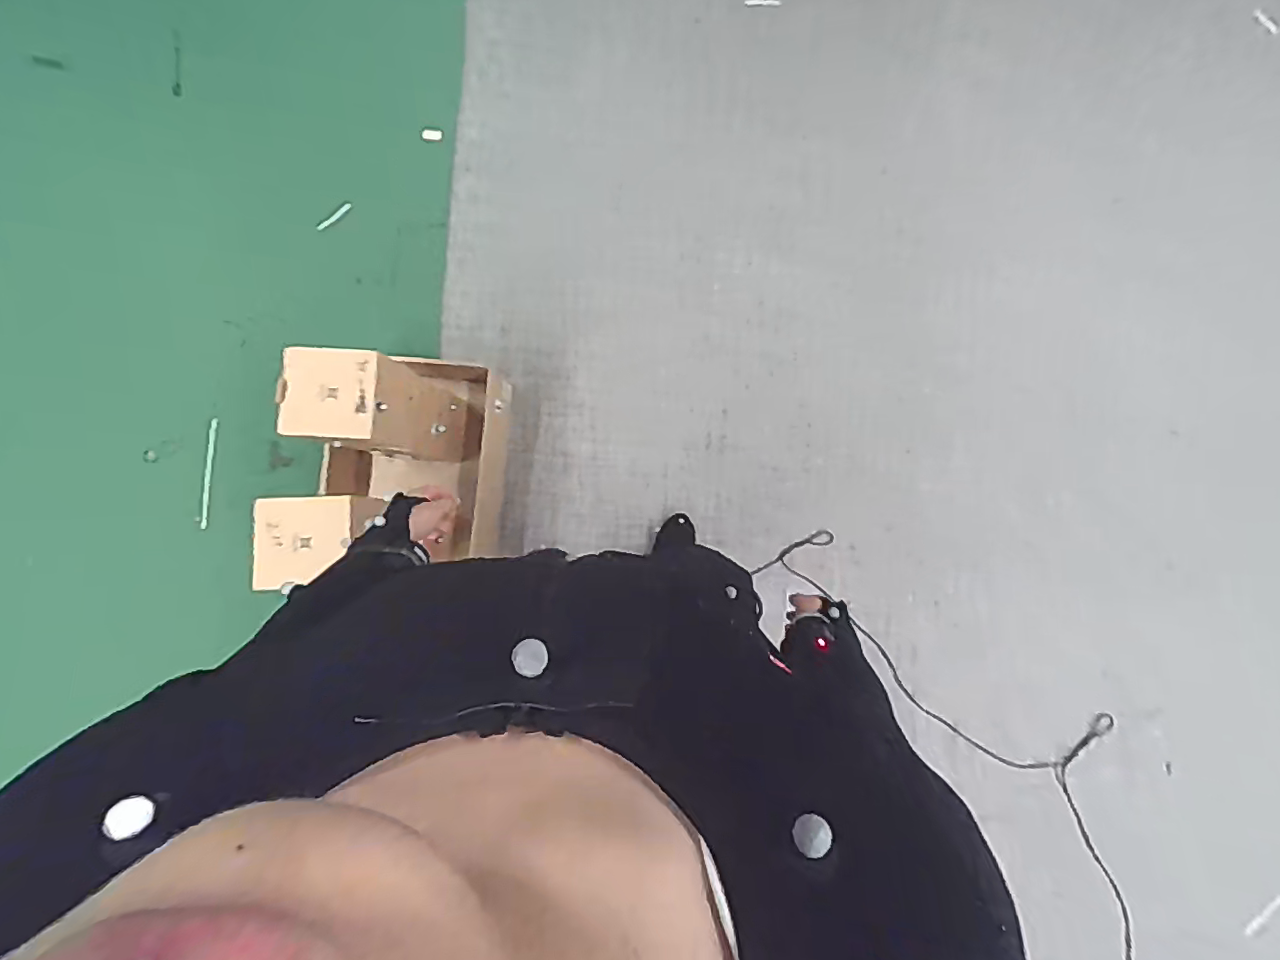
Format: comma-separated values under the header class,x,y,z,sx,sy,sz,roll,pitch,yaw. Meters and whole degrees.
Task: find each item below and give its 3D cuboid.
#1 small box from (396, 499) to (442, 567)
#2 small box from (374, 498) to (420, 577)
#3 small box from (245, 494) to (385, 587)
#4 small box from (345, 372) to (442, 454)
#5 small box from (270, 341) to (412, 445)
class,x,y,z,sx,sy,sz,roll,pitch,yaw
small box,-0.620,0.135,1.363,0.179,0.176,0.168,0,85,0
small box,-0.610,0.129,1.198,0.179,0.176,0.168,-2,85,-1
small box,-0.609,0.113,1.035,0.179,0.176,0.168,-2,84,0
small box,-0.570,-0.153,1.219,0.179,0.176,0.168,6,87,0
small box,-0.573,-0.162,1.054,0.179,0.176,0.168,3,87,2
